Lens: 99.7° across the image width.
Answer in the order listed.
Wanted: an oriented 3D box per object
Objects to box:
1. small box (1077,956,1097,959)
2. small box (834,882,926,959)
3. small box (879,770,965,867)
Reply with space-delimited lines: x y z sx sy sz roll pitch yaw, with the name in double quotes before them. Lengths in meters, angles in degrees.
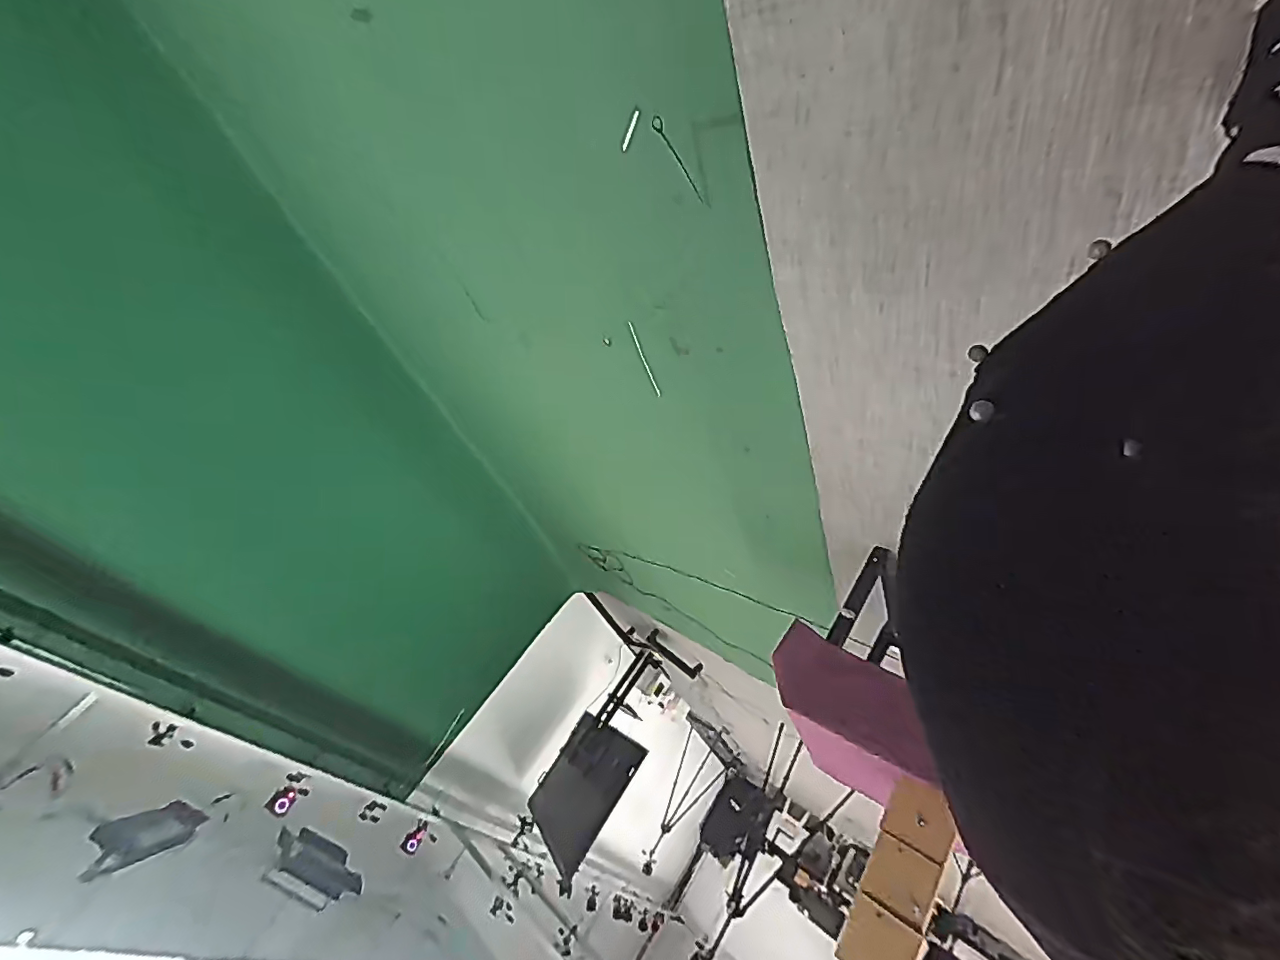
"small box" 1.082 1.215 1.213 0.179 0.176 0.168 18 149 38
"small box" 0.640 1.209 1.429 0.168 0.176 0.179 16 150 41
"small box" 0.820 0.975 1.576 0.179 0.176 0.168 18 150 38
